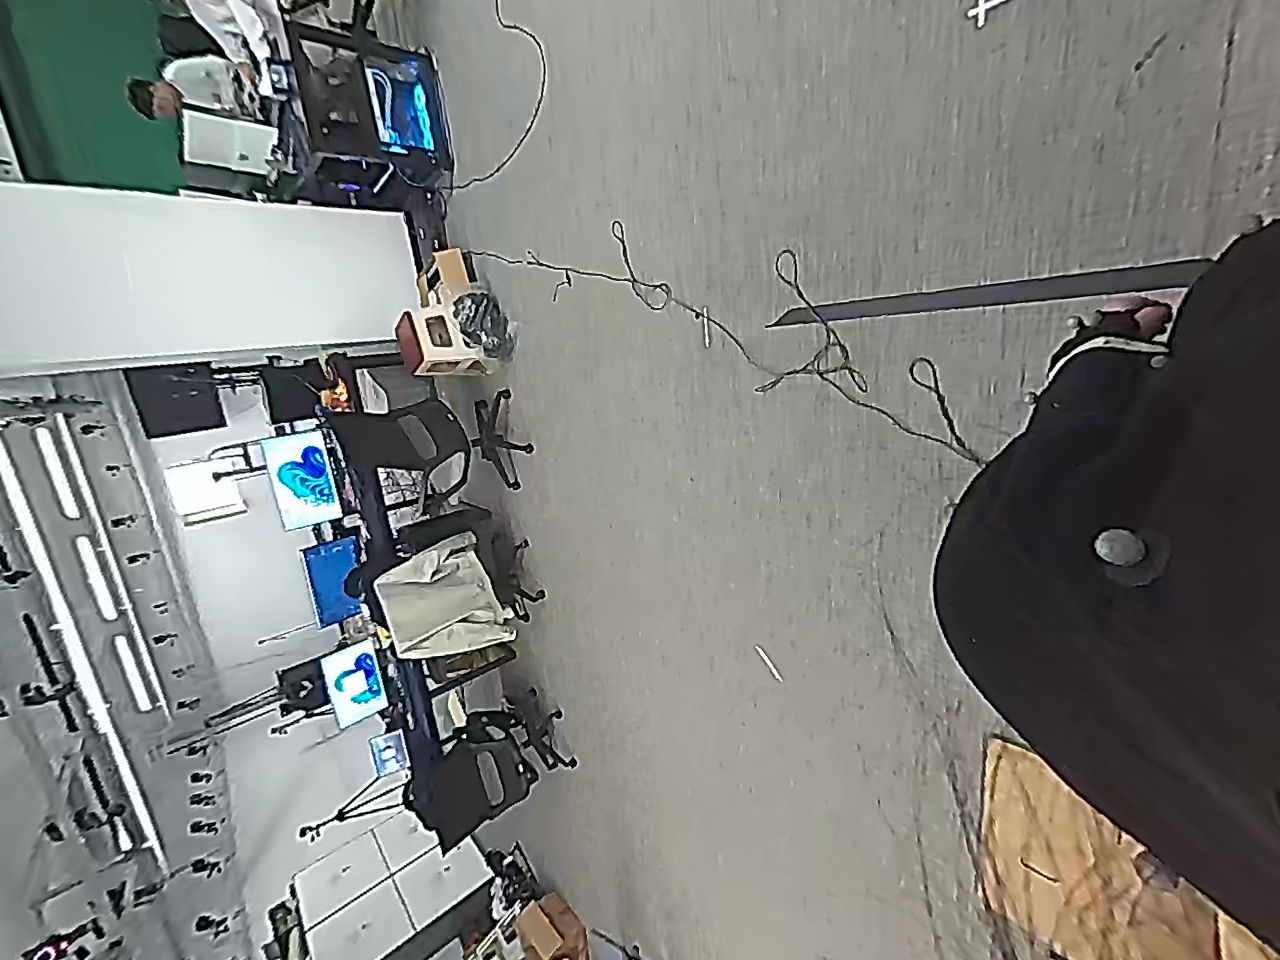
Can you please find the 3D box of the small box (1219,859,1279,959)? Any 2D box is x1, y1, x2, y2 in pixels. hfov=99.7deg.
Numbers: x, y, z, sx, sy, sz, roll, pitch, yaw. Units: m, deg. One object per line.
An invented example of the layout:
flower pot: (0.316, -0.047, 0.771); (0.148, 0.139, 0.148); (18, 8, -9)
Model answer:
small box: (1.287, 0.918, 1.083); (0.168, 0.176, 0.179); (-3, 101, 51)
